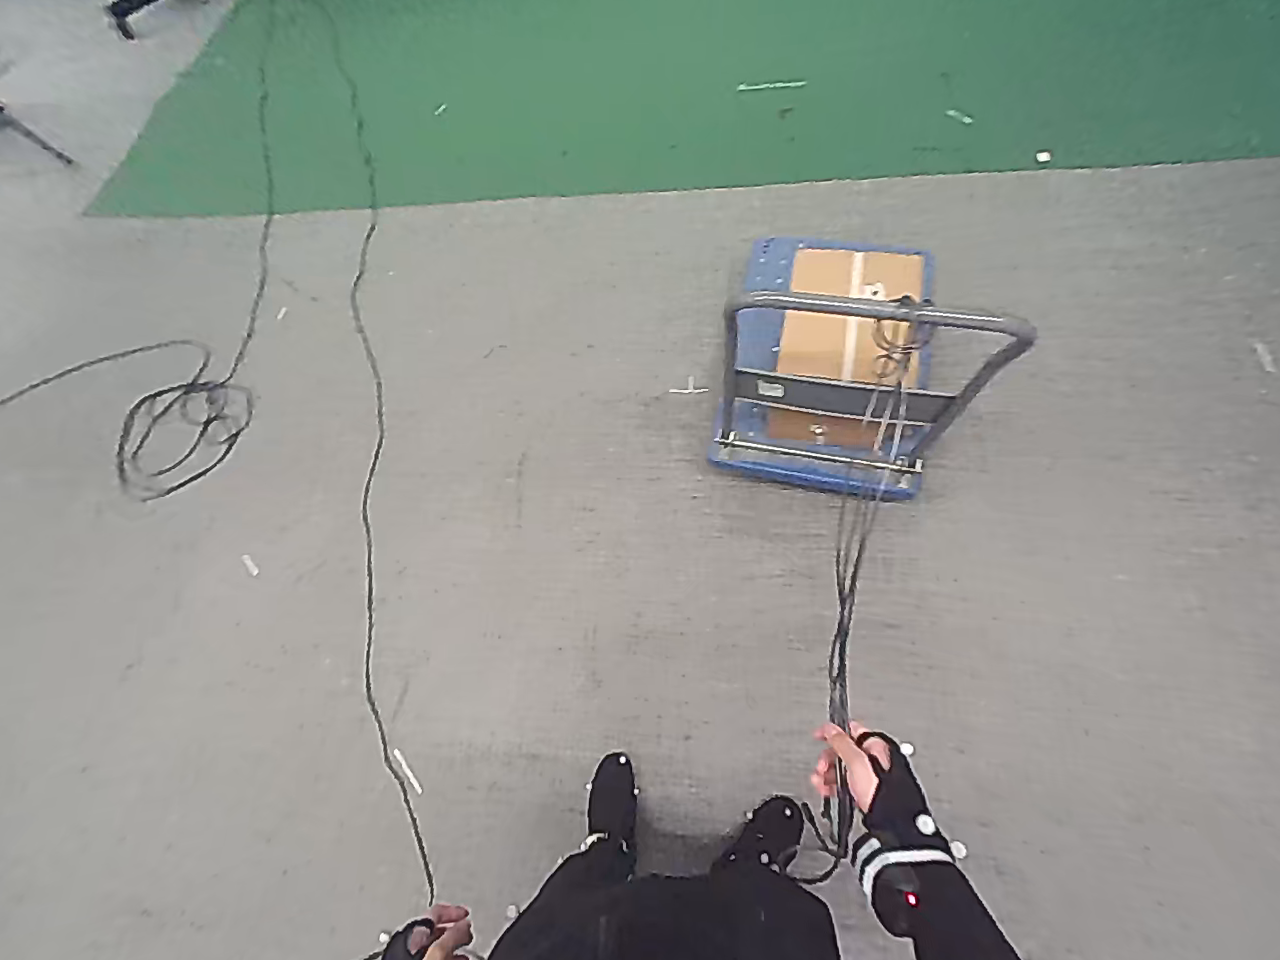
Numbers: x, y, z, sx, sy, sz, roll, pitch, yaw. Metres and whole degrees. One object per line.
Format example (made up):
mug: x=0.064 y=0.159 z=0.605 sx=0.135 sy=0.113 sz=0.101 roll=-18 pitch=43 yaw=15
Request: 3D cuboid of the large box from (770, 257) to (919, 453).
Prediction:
large box: x=0.534 y=-0.327 z=1.449 sx=0.320 sy=0.320 sz=0.408 roll=10 pitch=66 yaw=12
